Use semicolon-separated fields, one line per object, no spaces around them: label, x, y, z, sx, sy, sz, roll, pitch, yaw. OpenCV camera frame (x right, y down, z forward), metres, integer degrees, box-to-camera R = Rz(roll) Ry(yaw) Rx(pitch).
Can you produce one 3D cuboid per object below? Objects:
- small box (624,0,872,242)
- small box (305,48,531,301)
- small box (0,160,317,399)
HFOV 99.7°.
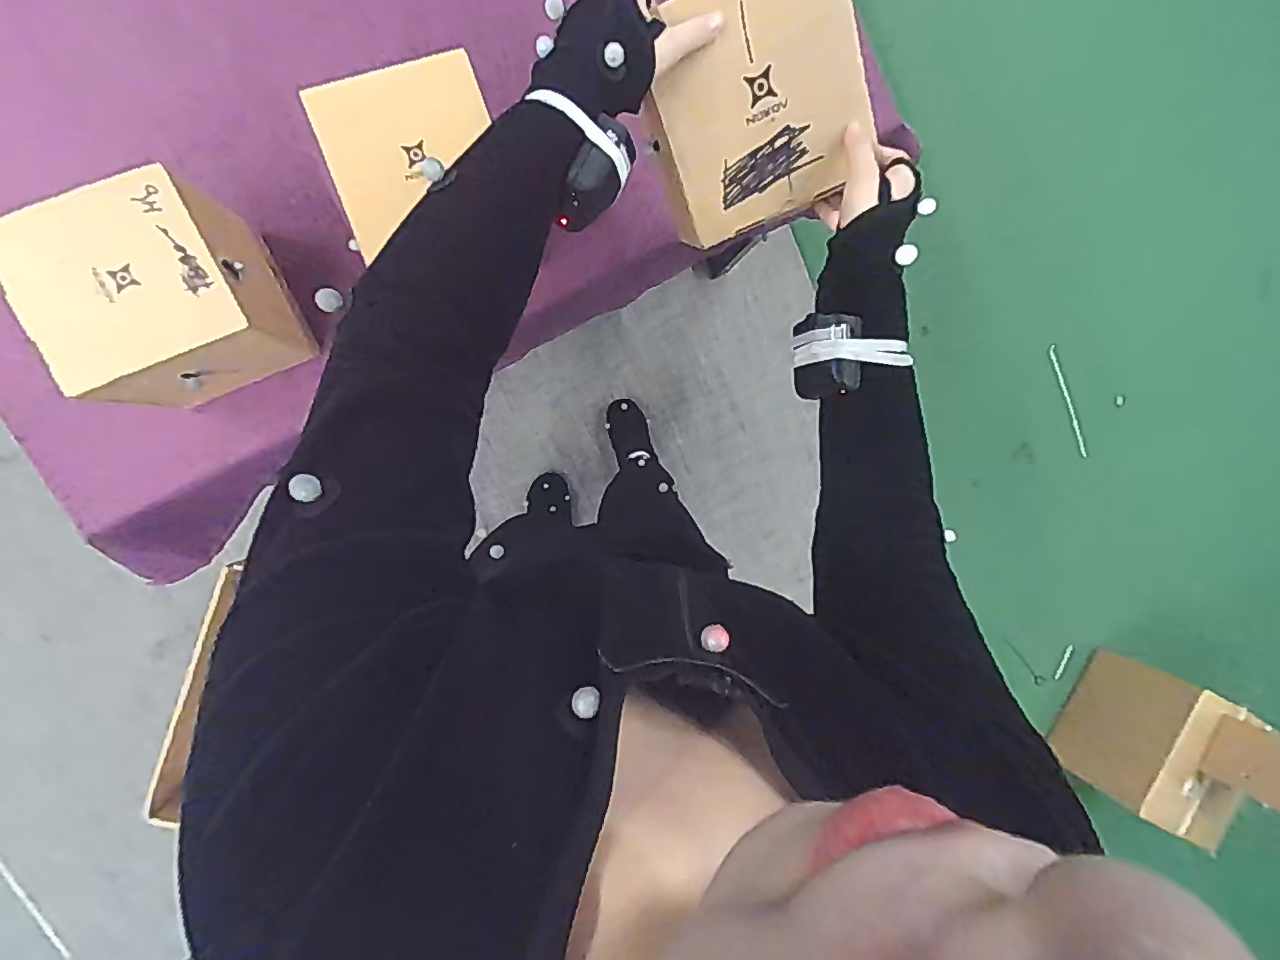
small box;0.092;-0.349;0.513;0.168;0.176;0.179;-22;115;7
small box;-0.231;-0.326;0.612;0.168;0.176;0.179;-20;99;-6
small box;-0.496;-0.195;0.580;0.179;0.176;0.168;-25;99;-5
